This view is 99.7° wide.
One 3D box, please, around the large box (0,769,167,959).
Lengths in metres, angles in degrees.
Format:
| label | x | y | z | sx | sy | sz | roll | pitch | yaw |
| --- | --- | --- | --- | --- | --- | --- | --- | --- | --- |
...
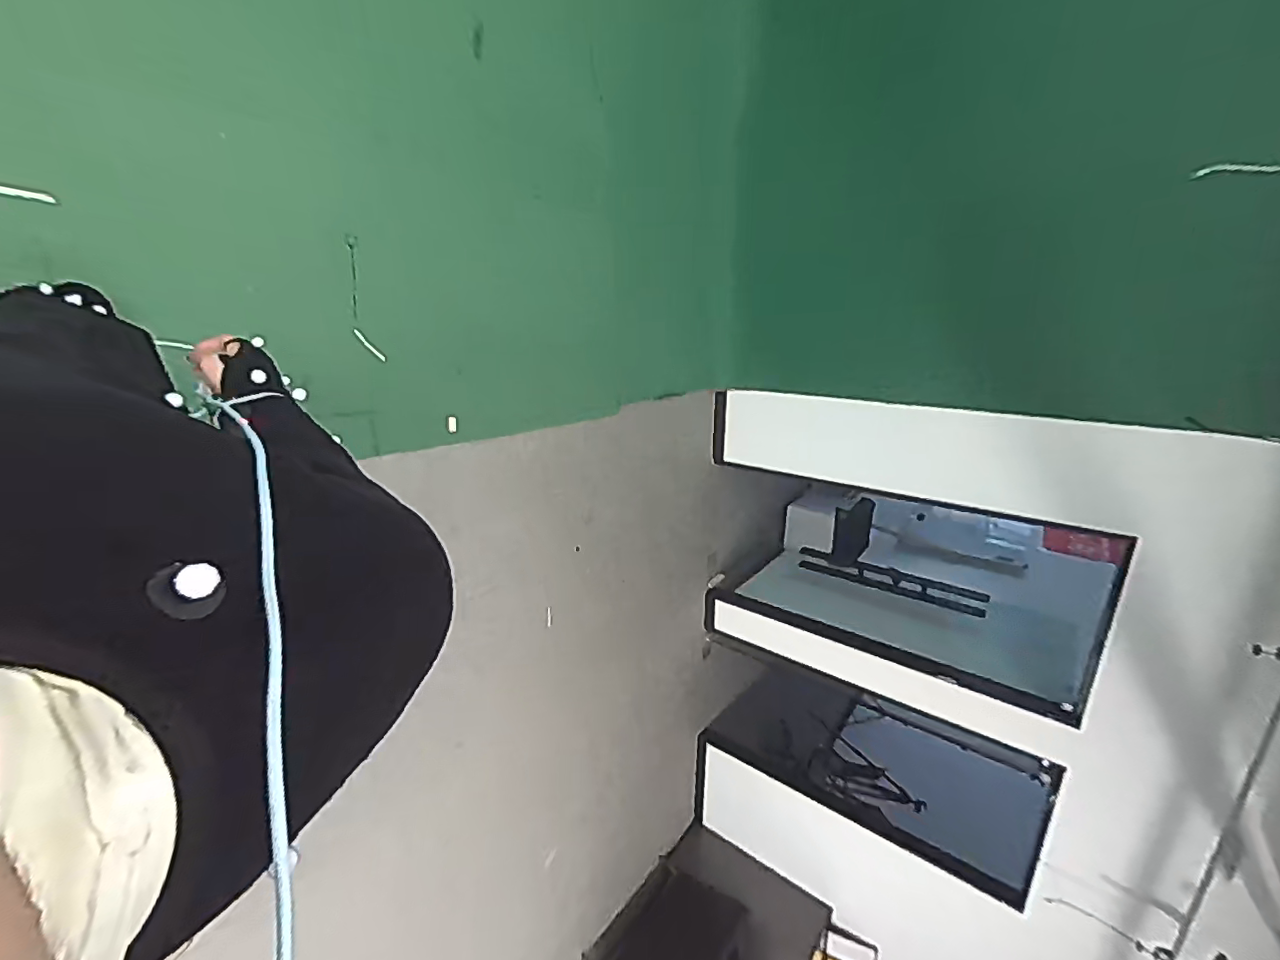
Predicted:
| label | x | y | z | sx | sy | sz | roll | pitch | yaw |
| --- | --- | --- | --- | --- | --- | --- | --- | --- | --- |
| large box | -1.297 | 0.901 | 1.133 | 0.408 | 0.320 | 0.320 | -4 | 104 | -54 |
